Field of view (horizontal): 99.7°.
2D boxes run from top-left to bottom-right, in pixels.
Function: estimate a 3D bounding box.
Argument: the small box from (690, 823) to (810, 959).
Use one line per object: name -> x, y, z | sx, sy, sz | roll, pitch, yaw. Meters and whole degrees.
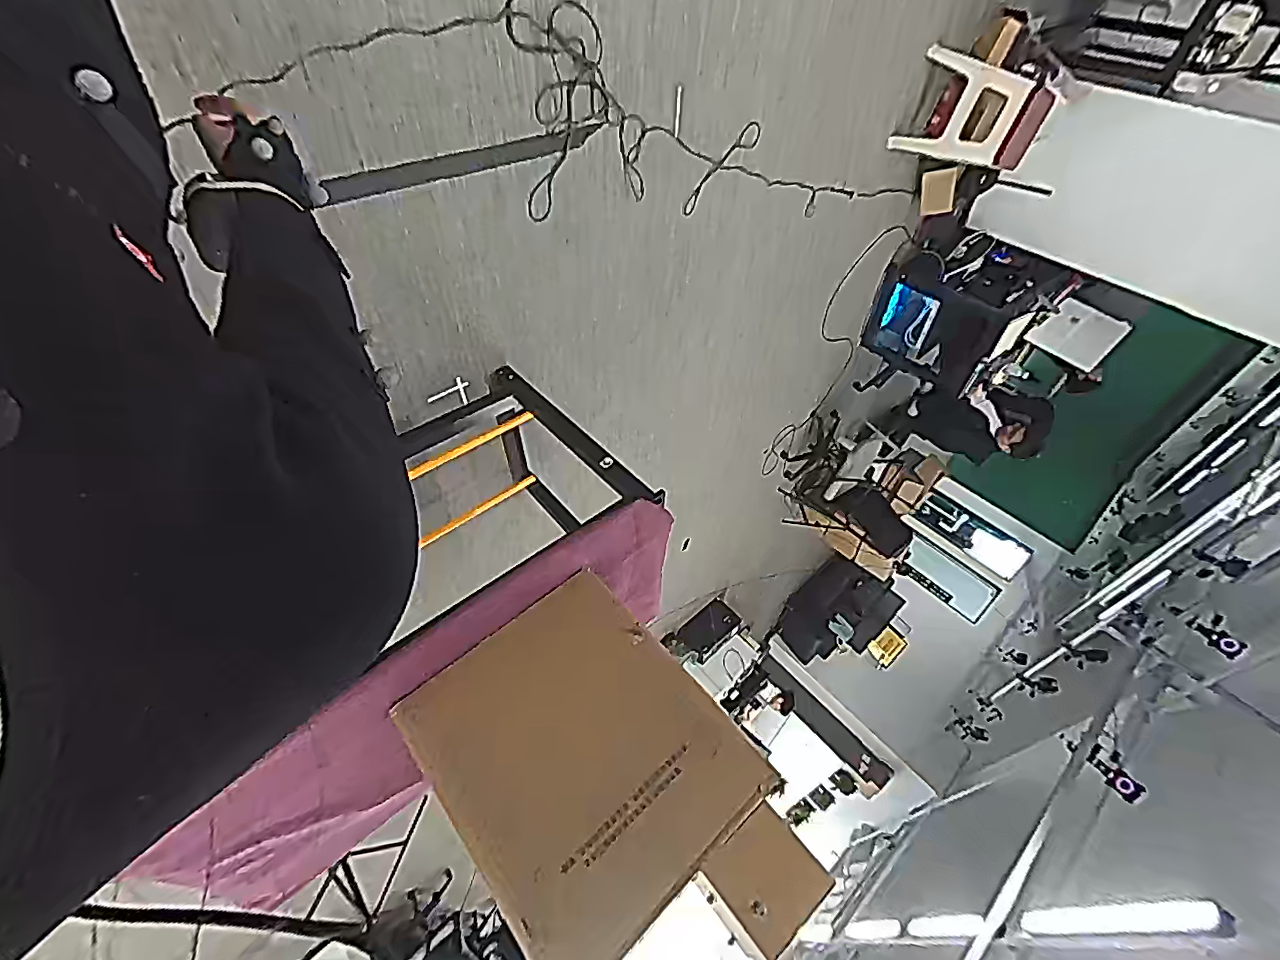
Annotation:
small box -> 0.223, 0.866, 1.144 | 0.168, 0.176, 0.179 | -33, 148, -25
